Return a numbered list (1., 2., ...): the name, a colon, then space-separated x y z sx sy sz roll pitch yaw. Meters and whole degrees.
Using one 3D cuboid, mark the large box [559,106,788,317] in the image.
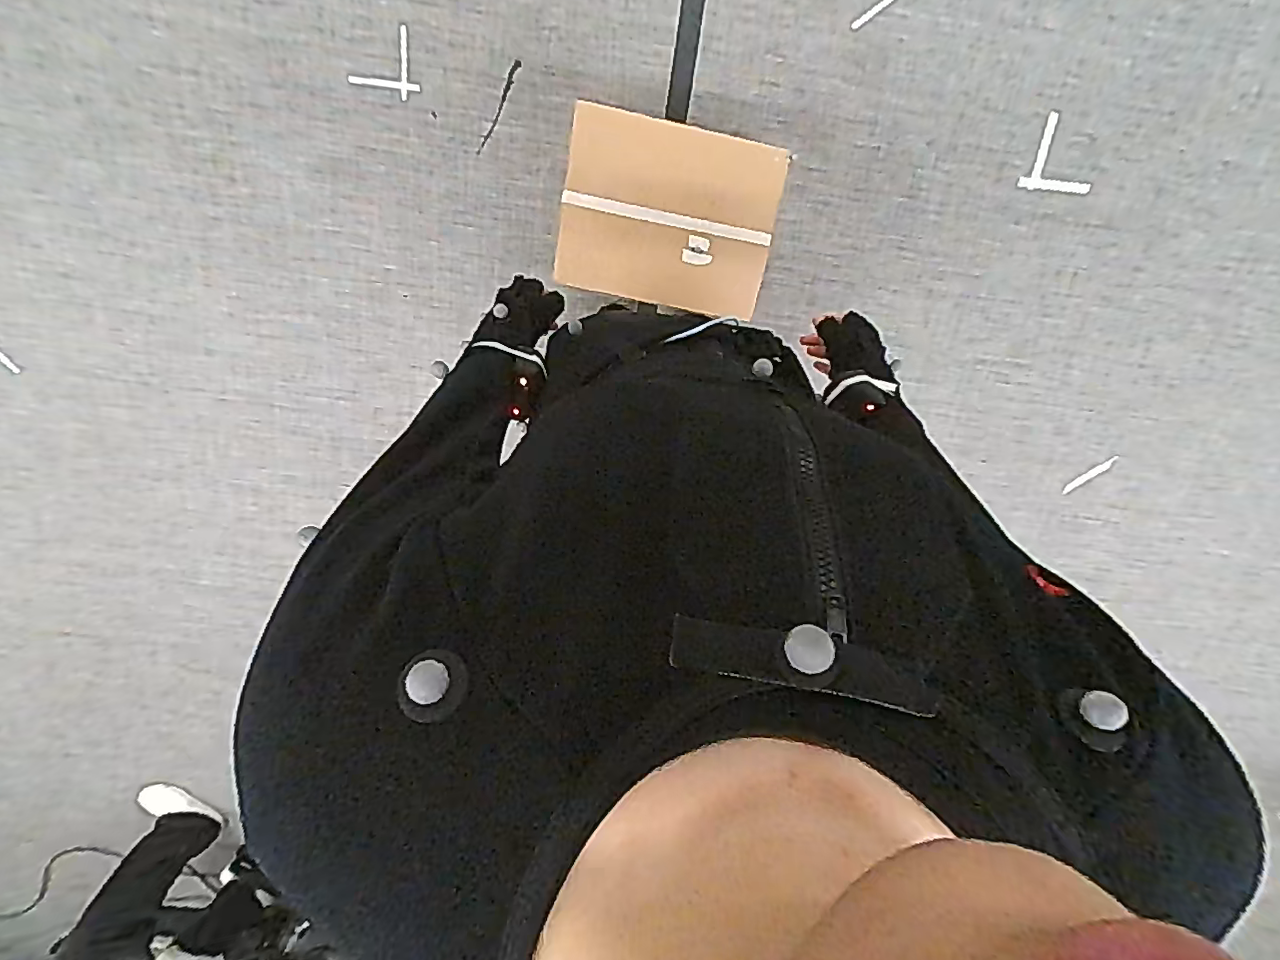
1. large box: 0.049 -0.556 1.184 0.408 0.320 0.320 10 110 -6
